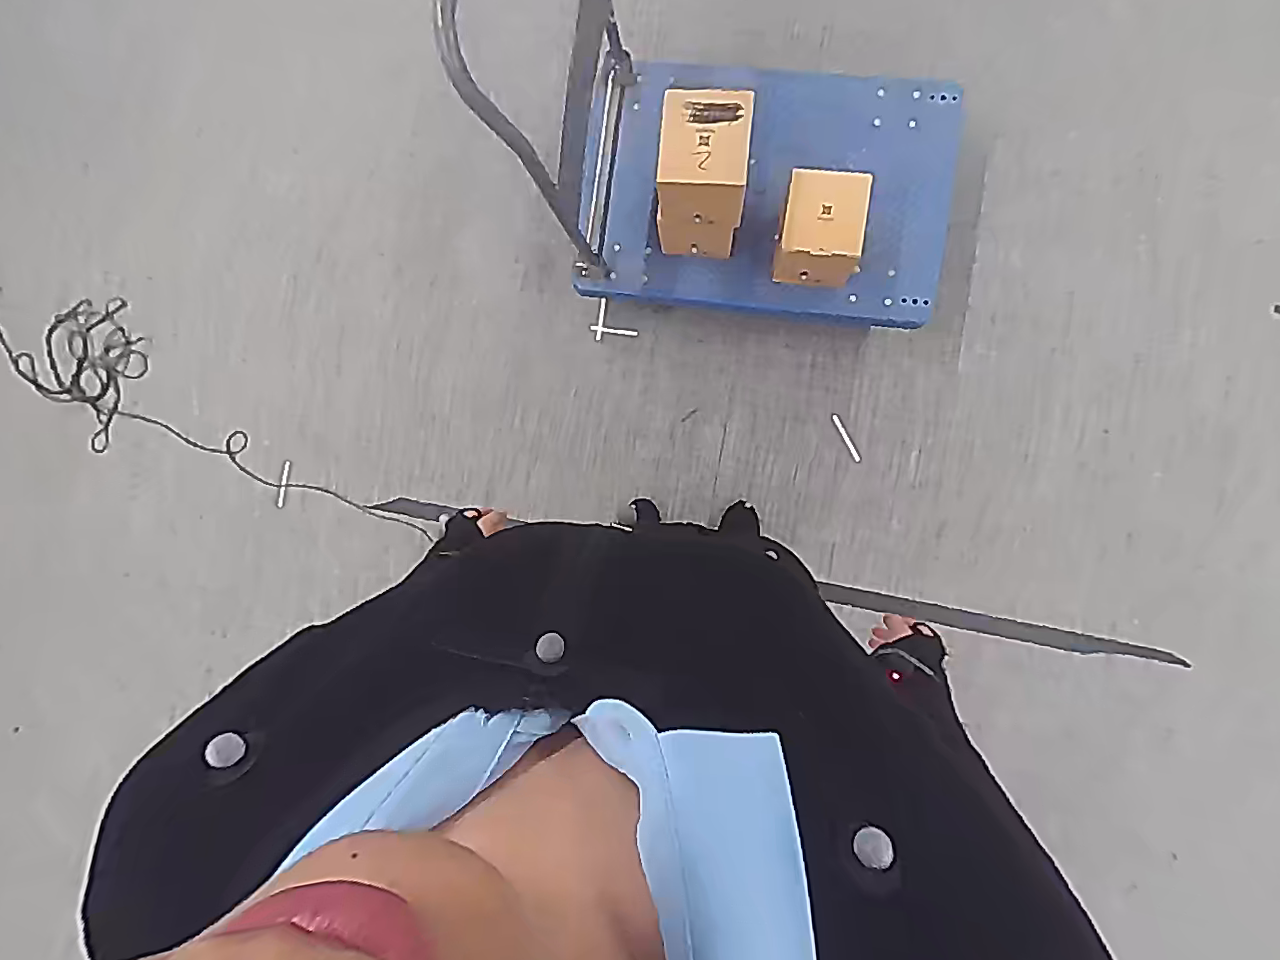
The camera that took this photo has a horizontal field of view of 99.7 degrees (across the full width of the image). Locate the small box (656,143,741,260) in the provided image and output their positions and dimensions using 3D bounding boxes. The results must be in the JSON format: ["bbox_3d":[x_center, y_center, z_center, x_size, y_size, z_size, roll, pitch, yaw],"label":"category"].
[{"bbox_3d":[0.132,-0.628,1.231,0.168,0.176,0.179,7,90,7],"label":"small box"}]

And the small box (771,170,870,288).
[{"bbox_3d":[0.393,-0.551,1.203,0.168,0.176,0.179,8,90,6],"label":"small box"}]
